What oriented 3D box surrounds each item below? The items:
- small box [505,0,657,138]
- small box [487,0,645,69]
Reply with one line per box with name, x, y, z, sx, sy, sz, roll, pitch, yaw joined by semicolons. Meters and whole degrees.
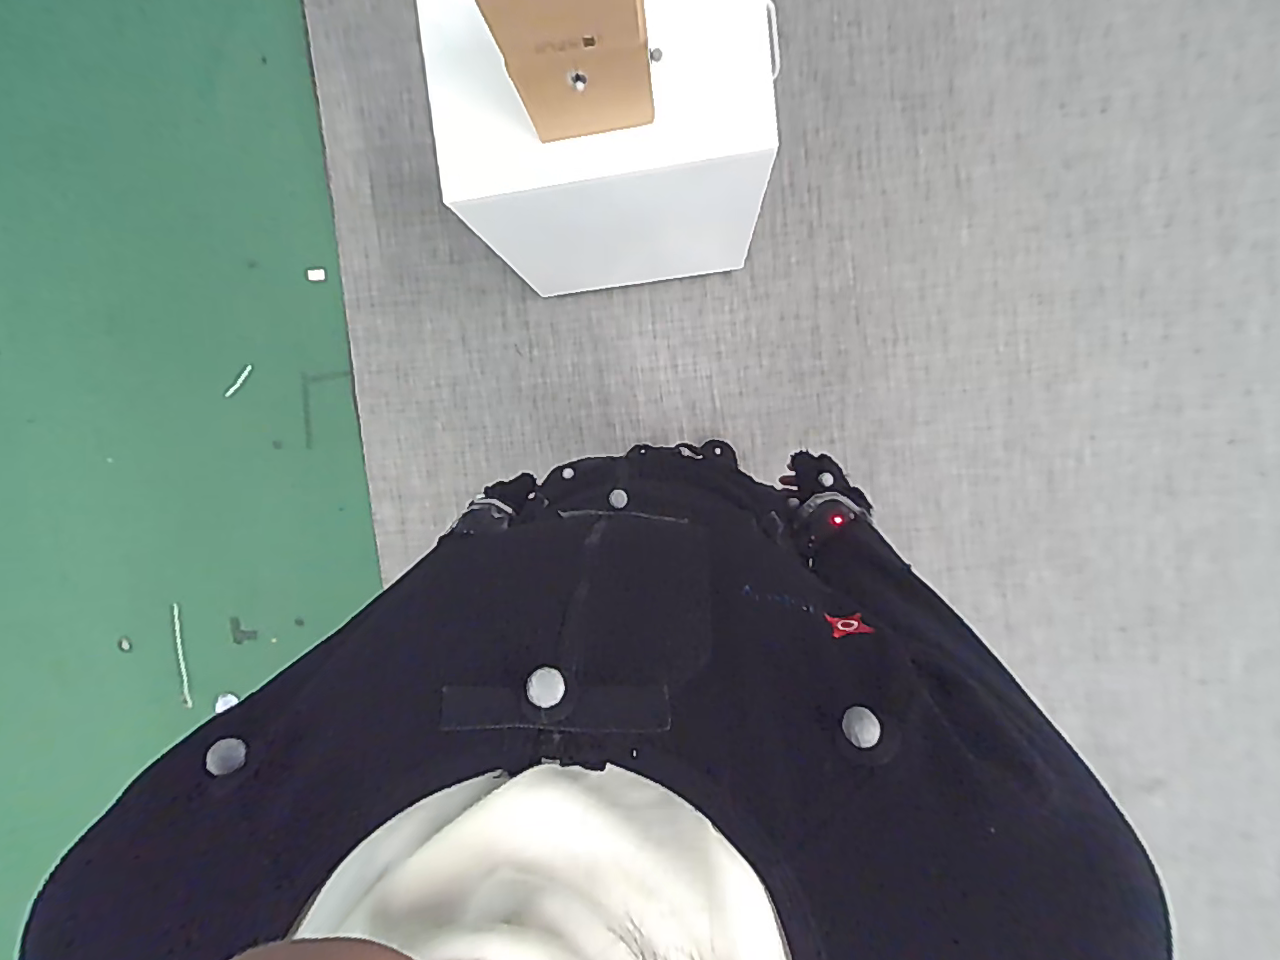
small box;-0.076;-0.590;0.721;0.179;0.176;0.168;-6;94;5
small box;-0.089;-0.583;0.561;0.168;0.176;0.179;-8;94;5
